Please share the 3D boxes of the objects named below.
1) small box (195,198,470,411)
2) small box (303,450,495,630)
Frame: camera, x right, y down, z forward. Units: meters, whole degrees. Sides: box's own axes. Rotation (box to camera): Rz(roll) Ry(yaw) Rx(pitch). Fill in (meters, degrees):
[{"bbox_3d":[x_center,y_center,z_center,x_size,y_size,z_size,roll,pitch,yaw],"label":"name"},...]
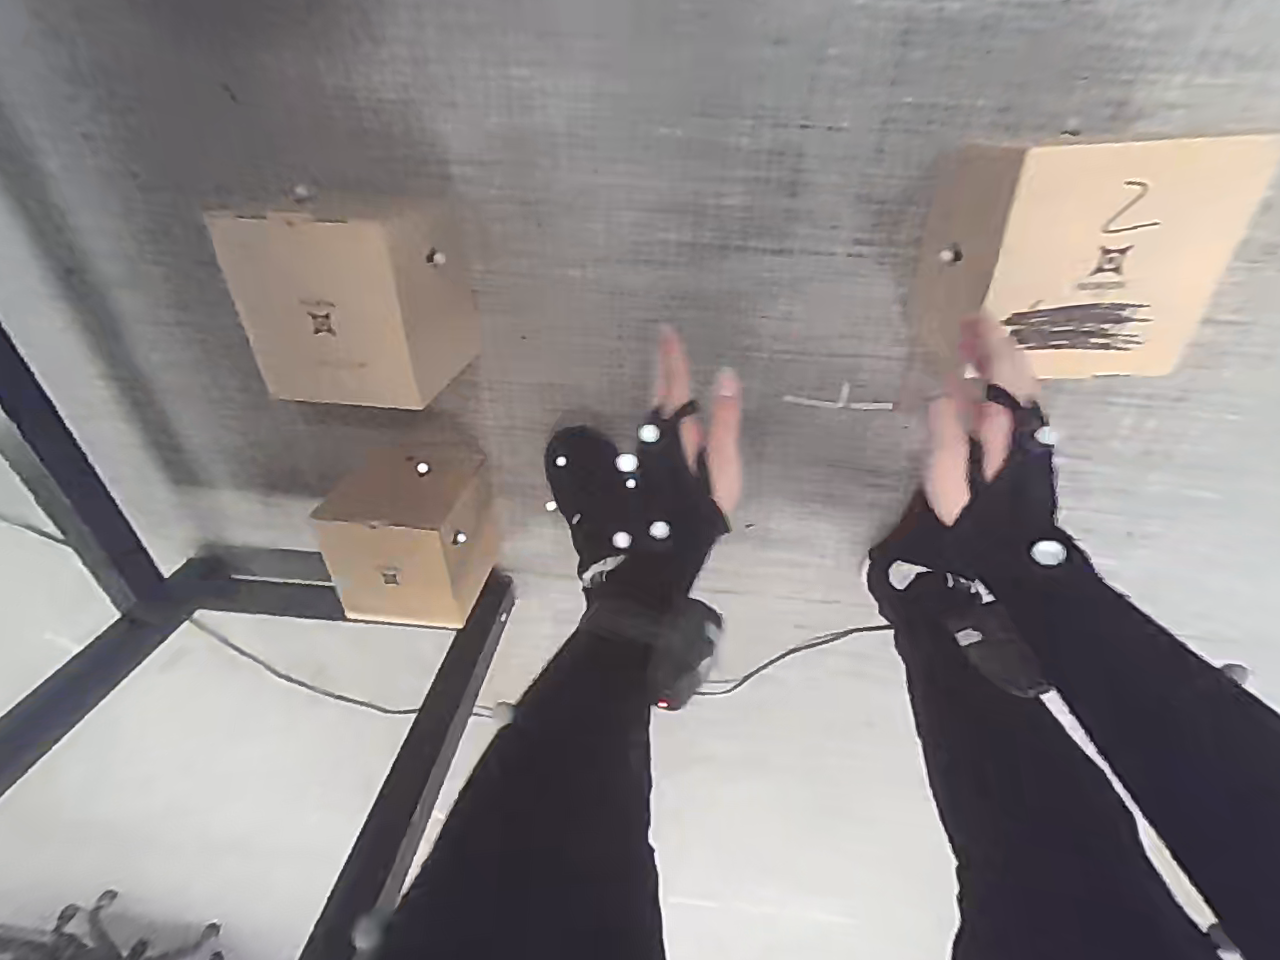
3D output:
[{"bbox_3d":[-0.296,-0.192,0.570,0.168,0.176,0.179,5,123,5],"label":"small box"},{"bbox_3d":[-0.313,0.079,0.749,0.168,0.176,0.179,4,123,5],"label":"small box"}]
